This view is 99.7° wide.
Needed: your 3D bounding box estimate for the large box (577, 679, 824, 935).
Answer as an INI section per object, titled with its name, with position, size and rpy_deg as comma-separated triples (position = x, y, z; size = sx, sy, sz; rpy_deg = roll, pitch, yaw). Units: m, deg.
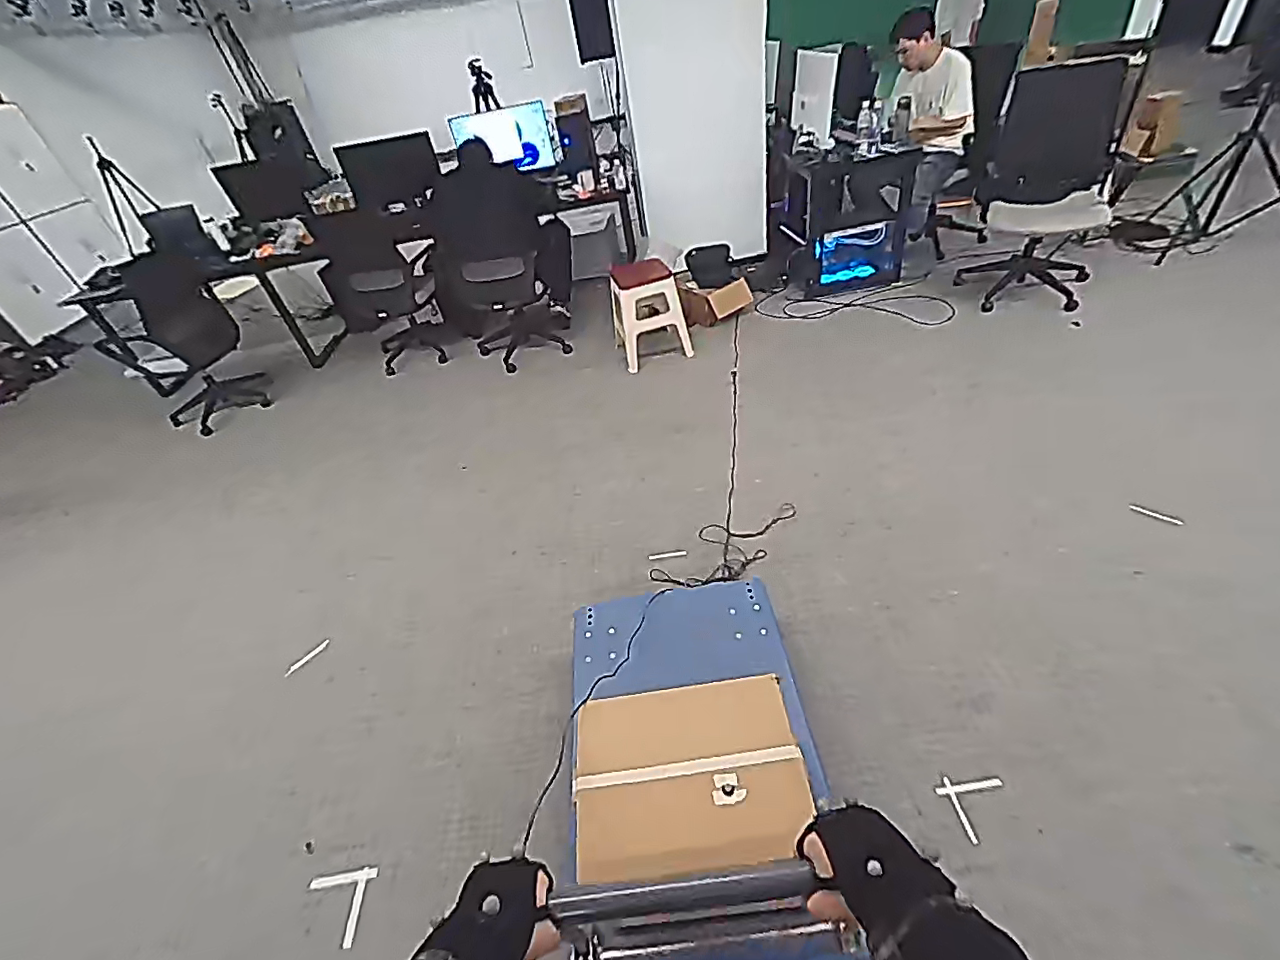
[large box]
position = 0.103, 0.636, 1.055
size = 0.408, 0.320, 0.320
rpy_deg = -9, 41, 2
